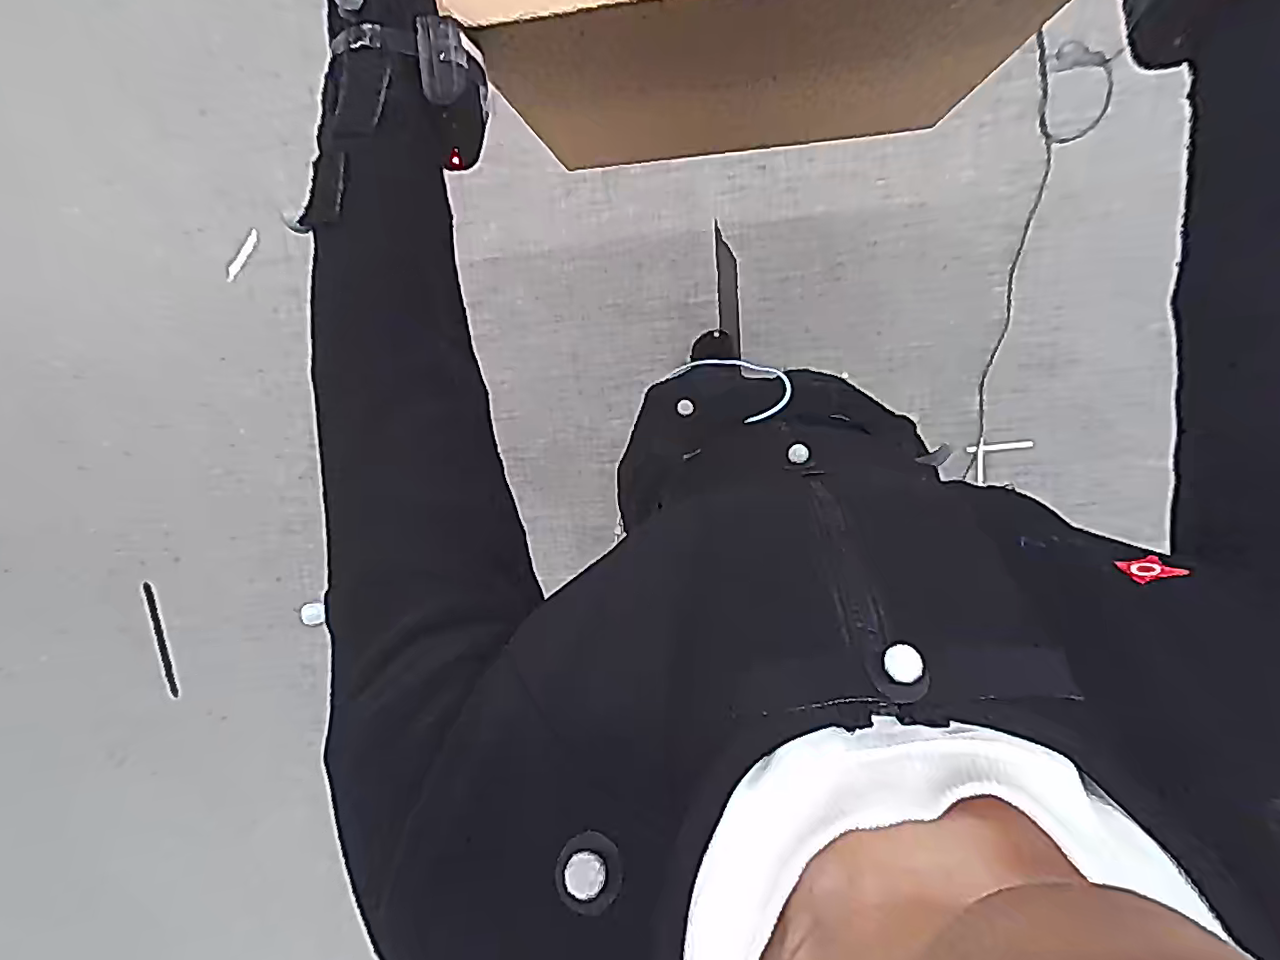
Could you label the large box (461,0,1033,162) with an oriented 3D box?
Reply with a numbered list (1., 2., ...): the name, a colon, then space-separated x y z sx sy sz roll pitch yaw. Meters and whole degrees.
1. large box: 0.081 -0.488 0.424 0.408 0.320 0.320 -3 105 7
